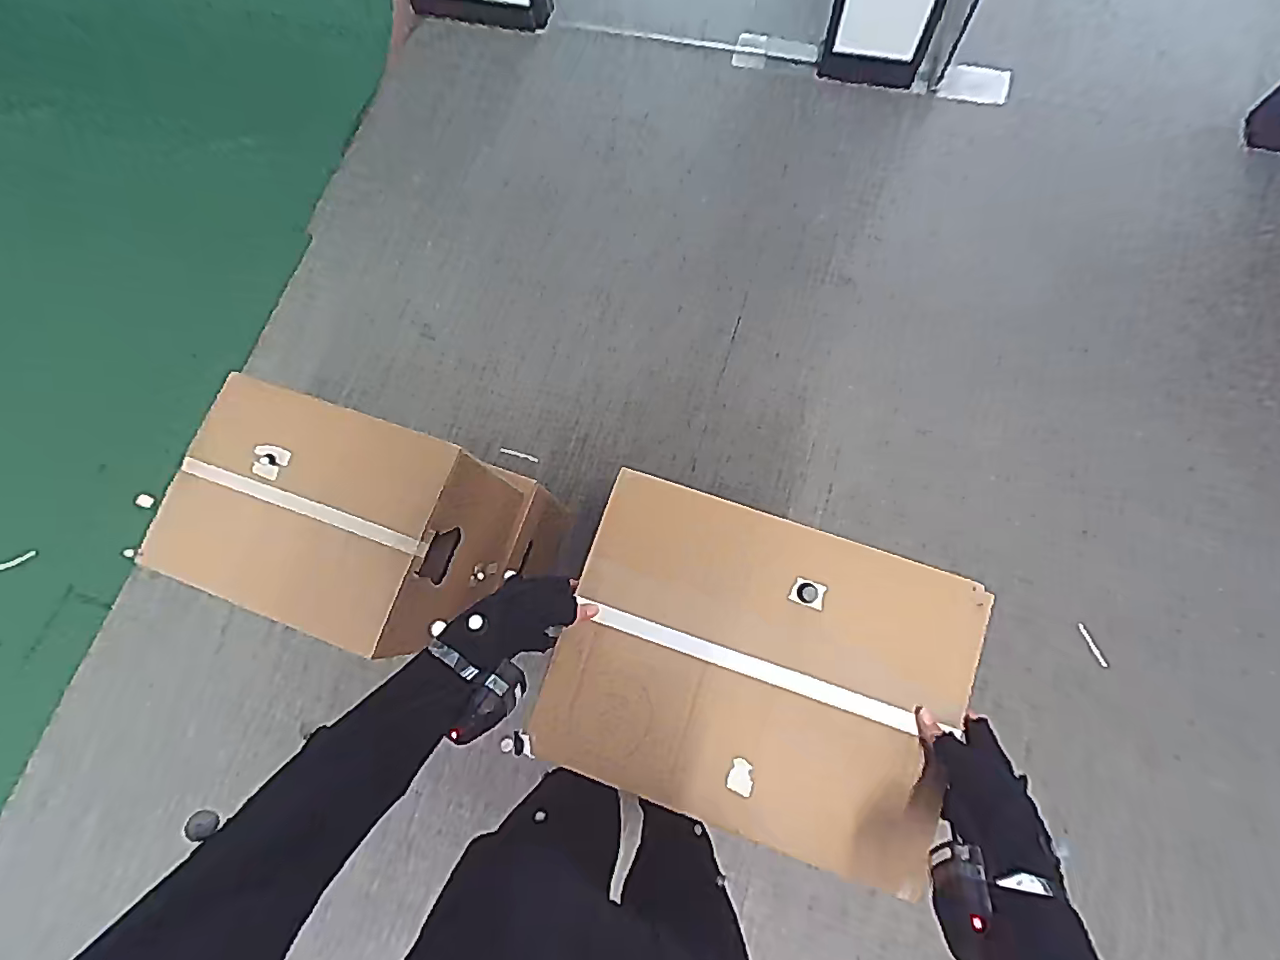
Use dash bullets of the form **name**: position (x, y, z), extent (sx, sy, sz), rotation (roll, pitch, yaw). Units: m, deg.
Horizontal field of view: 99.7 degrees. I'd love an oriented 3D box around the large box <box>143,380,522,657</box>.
- **large box**: position (-0.474, 0.073, 0.923), extent (0.408, 0.320, 0.320), rotation (18, 79, 10)
